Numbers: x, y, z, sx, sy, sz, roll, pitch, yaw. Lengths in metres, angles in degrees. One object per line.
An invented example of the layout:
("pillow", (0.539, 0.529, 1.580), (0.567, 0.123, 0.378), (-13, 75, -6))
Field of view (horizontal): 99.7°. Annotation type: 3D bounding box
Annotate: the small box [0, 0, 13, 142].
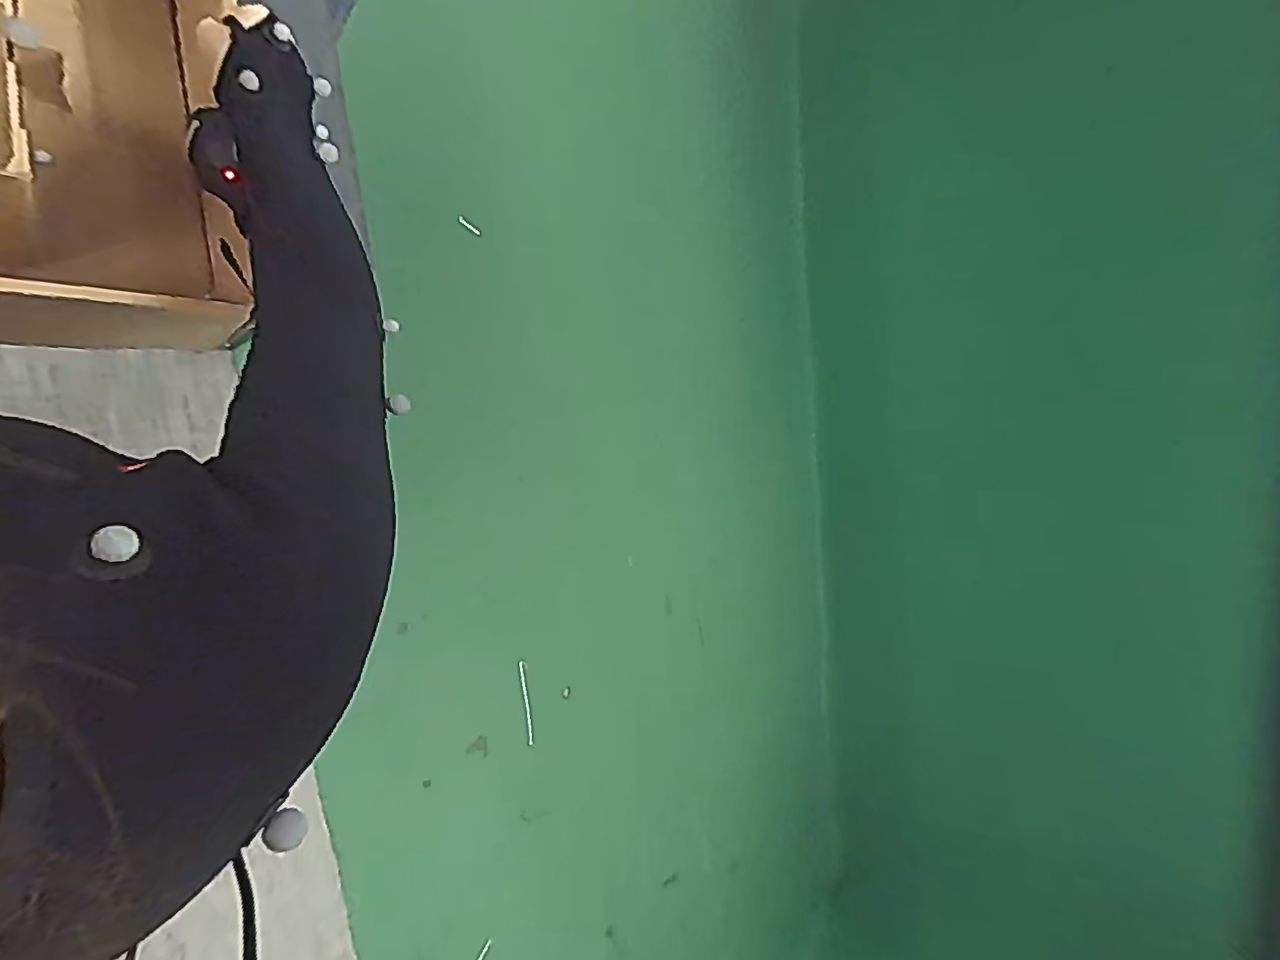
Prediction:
("small box", (-0.412, -0.277, 0.228), (0.179, 0.176, 0.168), (-11, 96, -49))
